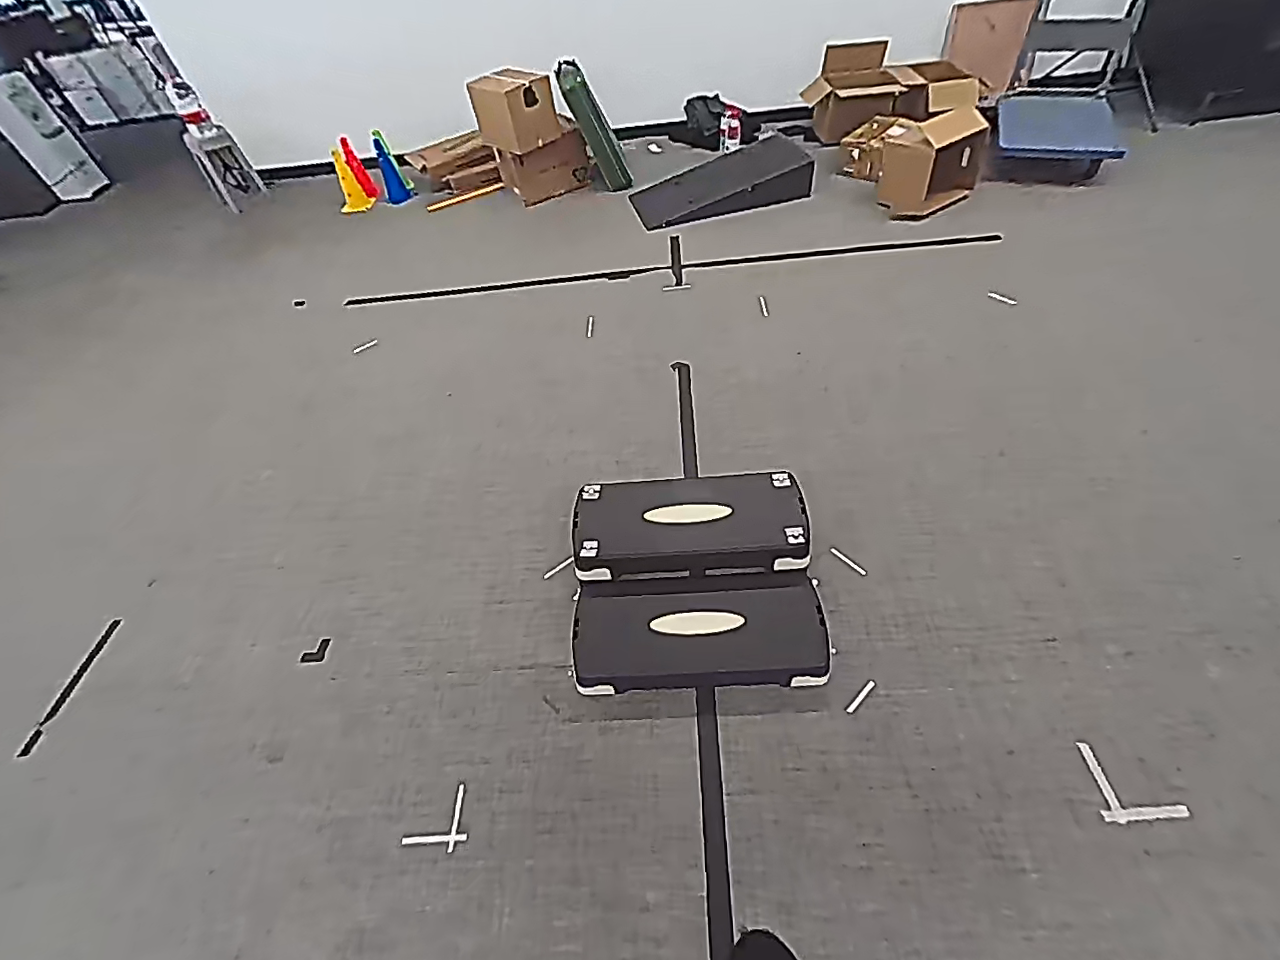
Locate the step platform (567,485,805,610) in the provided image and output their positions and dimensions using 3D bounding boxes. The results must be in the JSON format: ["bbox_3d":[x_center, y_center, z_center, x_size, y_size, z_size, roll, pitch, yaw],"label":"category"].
[{"bbox_3d":[0.129,0.193,1.595,0.684,0.204,0.286,-4,50,3],"label":"step platform"}]
